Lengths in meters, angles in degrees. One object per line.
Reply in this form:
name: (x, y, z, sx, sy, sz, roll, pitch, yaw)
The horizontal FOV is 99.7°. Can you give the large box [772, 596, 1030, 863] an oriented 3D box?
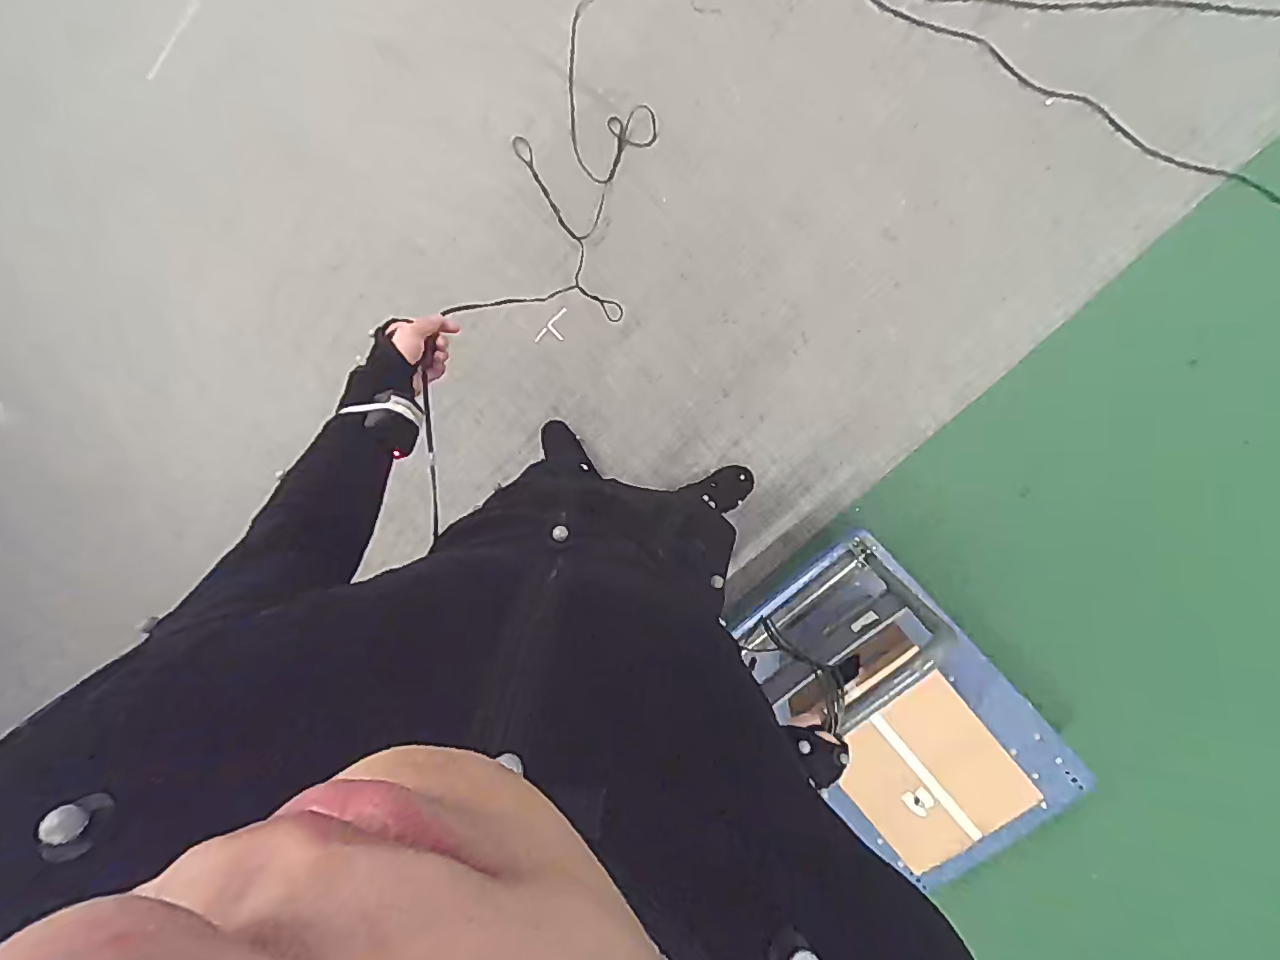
large box: (0.571, 0.554, 1.269, 0.320, 0.320, 0.408, -40, 91, 11)
